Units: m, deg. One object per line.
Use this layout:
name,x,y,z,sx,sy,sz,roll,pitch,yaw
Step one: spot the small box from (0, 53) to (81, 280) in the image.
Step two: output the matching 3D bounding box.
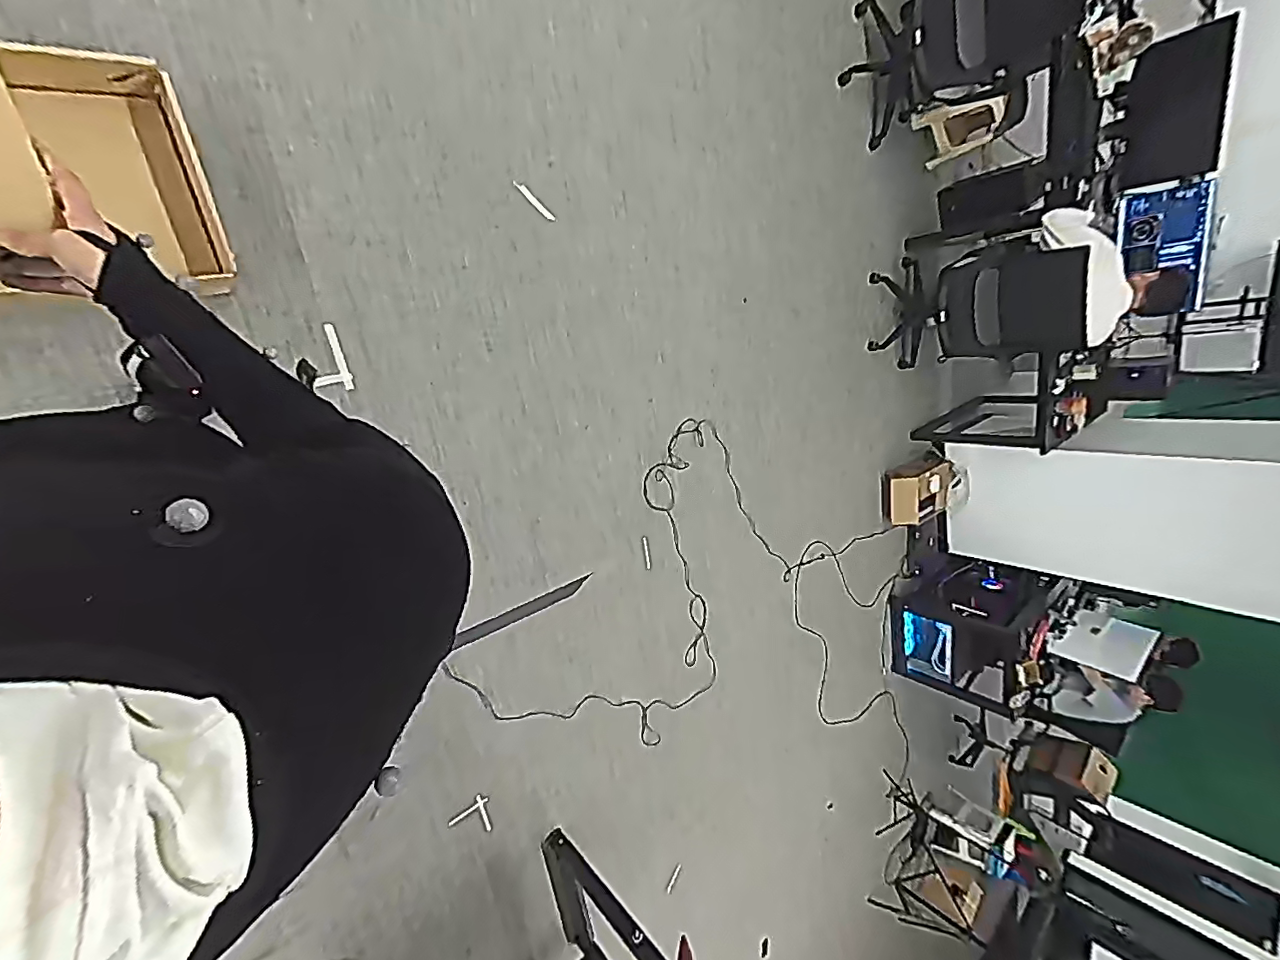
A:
small box,-0.634,-0.266,0.458,0.179,0.176,0.168,-27,114,-44
